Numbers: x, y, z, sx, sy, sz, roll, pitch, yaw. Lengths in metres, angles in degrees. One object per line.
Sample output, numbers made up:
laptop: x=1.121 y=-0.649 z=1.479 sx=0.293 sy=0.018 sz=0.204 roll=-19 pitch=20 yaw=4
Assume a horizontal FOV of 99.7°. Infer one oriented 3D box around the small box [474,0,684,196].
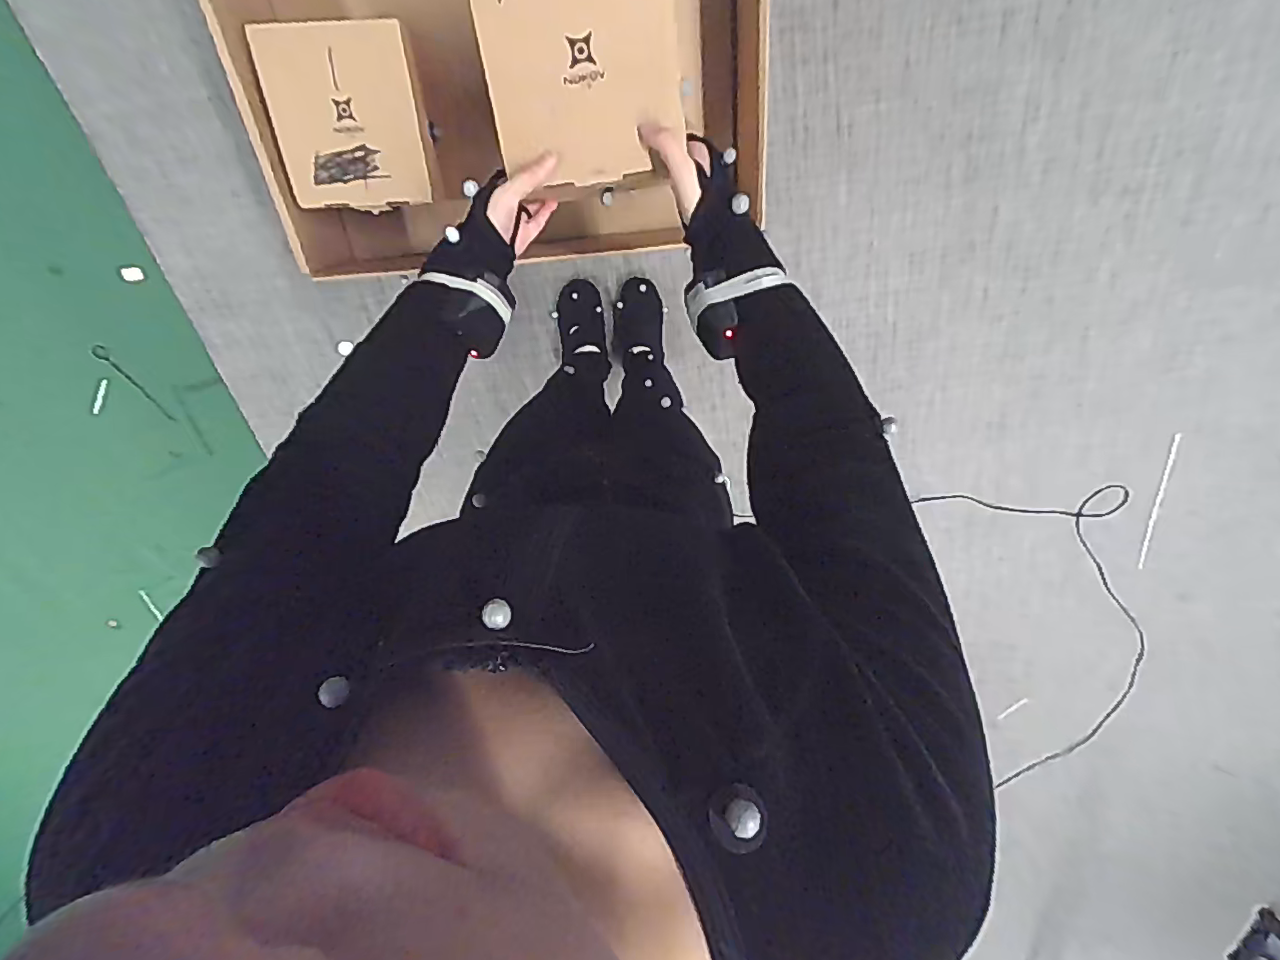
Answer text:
small box: x=-0.046 y=-0.383 z=0.526 sx=0.168 sy=0.176 sz=0.179 roll=-6 pitch=116 yaw=4
